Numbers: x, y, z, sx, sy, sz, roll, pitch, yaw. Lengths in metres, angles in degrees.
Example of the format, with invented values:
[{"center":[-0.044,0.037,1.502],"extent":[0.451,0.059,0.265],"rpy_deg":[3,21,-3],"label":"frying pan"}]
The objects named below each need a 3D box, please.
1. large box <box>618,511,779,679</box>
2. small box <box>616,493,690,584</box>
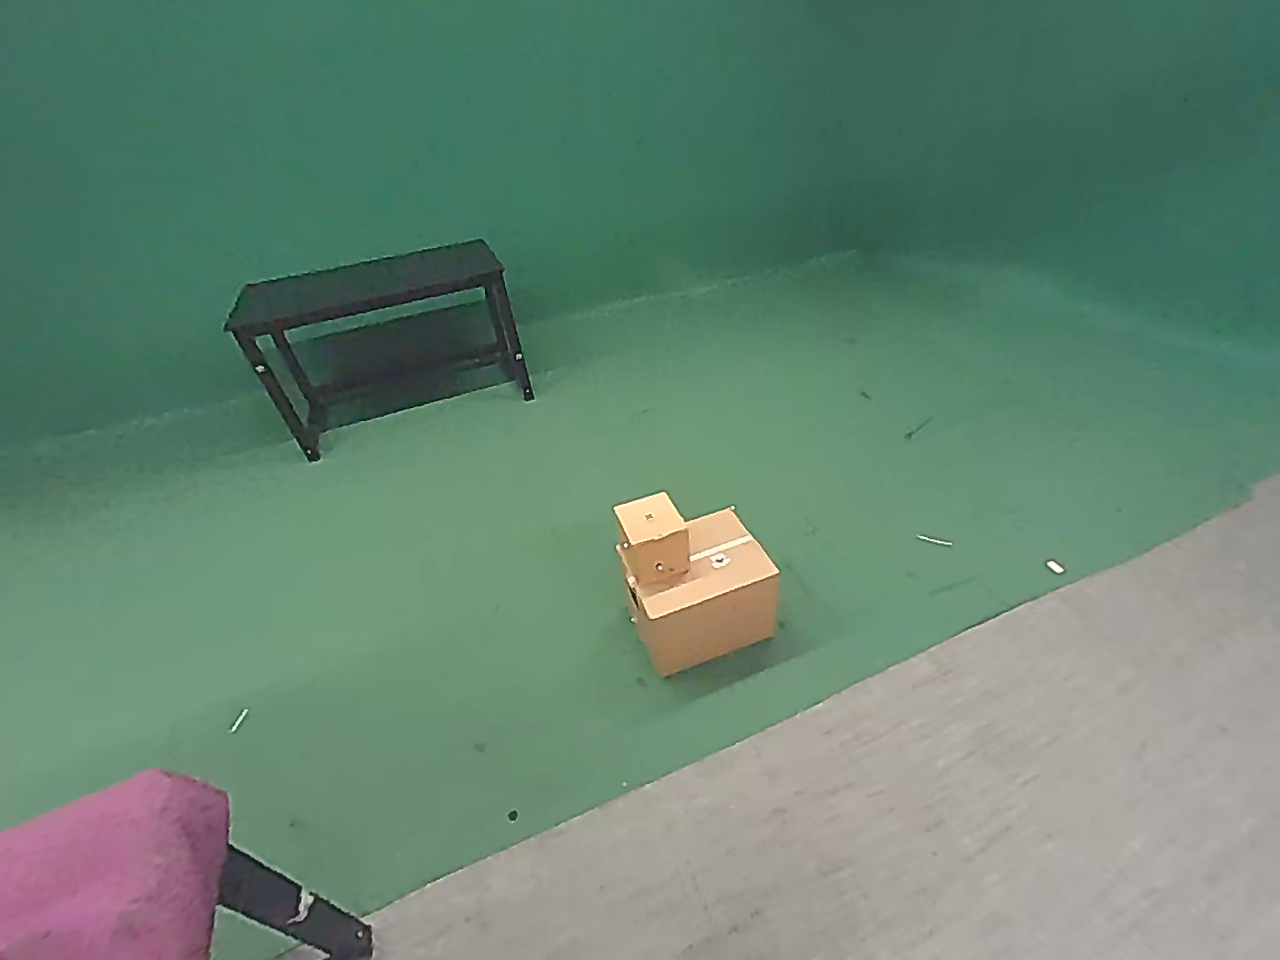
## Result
[{"center":[0.179,0.358,1.708],"extent":[0.408,0.320,0.320],"rpy_deg":[-16,40,-13],"label":"large box"},{"center":[0.038,0.171,1.572],"extent":[0.168,0.176,0.179],"rpy_deg":[-16,39,-12],"label":"small box"}]
